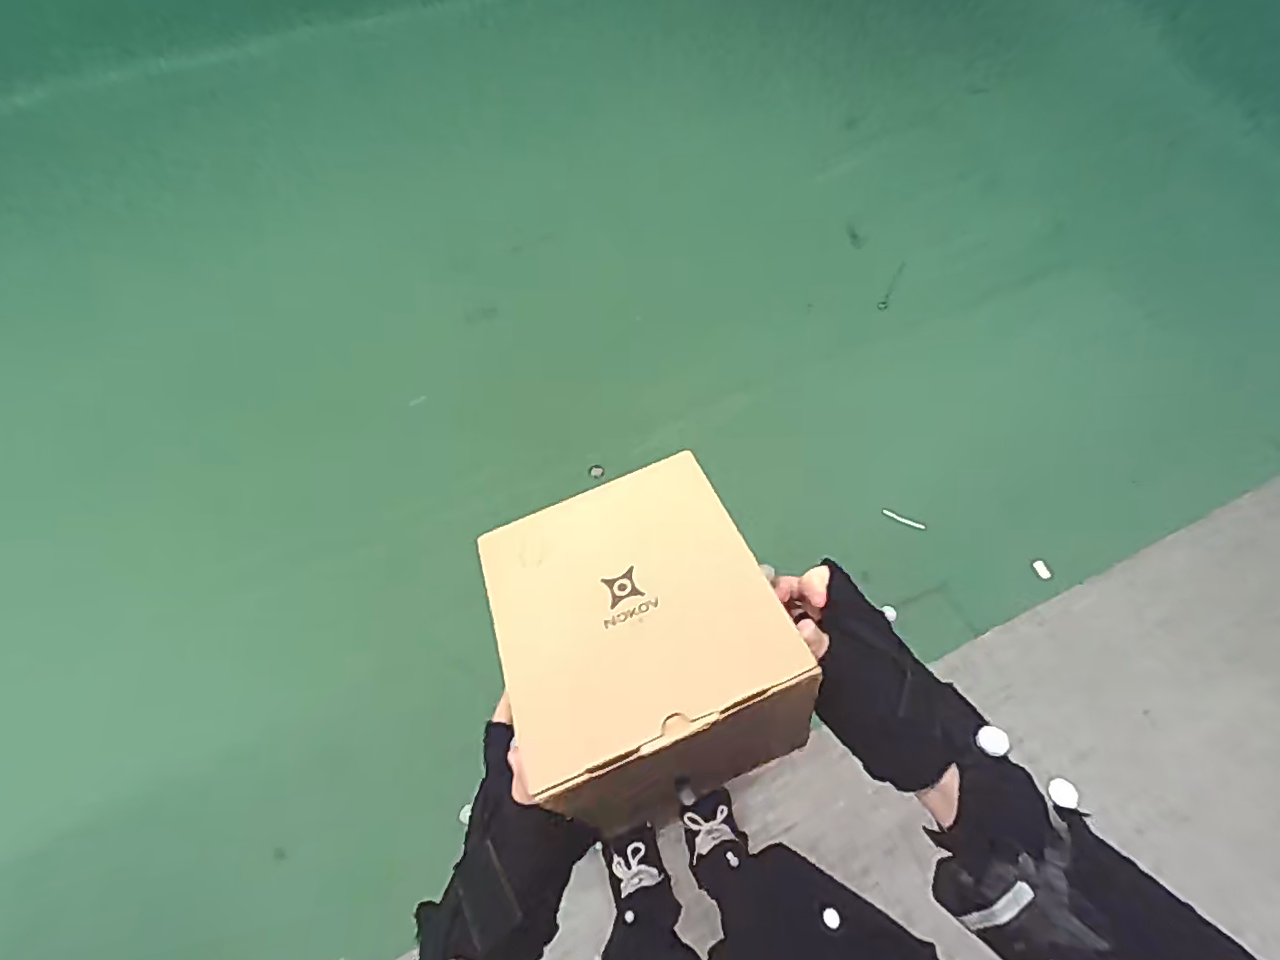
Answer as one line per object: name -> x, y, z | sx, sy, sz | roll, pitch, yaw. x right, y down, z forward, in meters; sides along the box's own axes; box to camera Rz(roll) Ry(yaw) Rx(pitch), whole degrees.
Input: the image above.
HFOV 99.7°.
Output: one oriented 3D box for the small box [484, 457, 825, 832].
small box -> 0.009, 0.121, 0.391 | 0.168, 0.176, 0.179 | -23, 51, -4
